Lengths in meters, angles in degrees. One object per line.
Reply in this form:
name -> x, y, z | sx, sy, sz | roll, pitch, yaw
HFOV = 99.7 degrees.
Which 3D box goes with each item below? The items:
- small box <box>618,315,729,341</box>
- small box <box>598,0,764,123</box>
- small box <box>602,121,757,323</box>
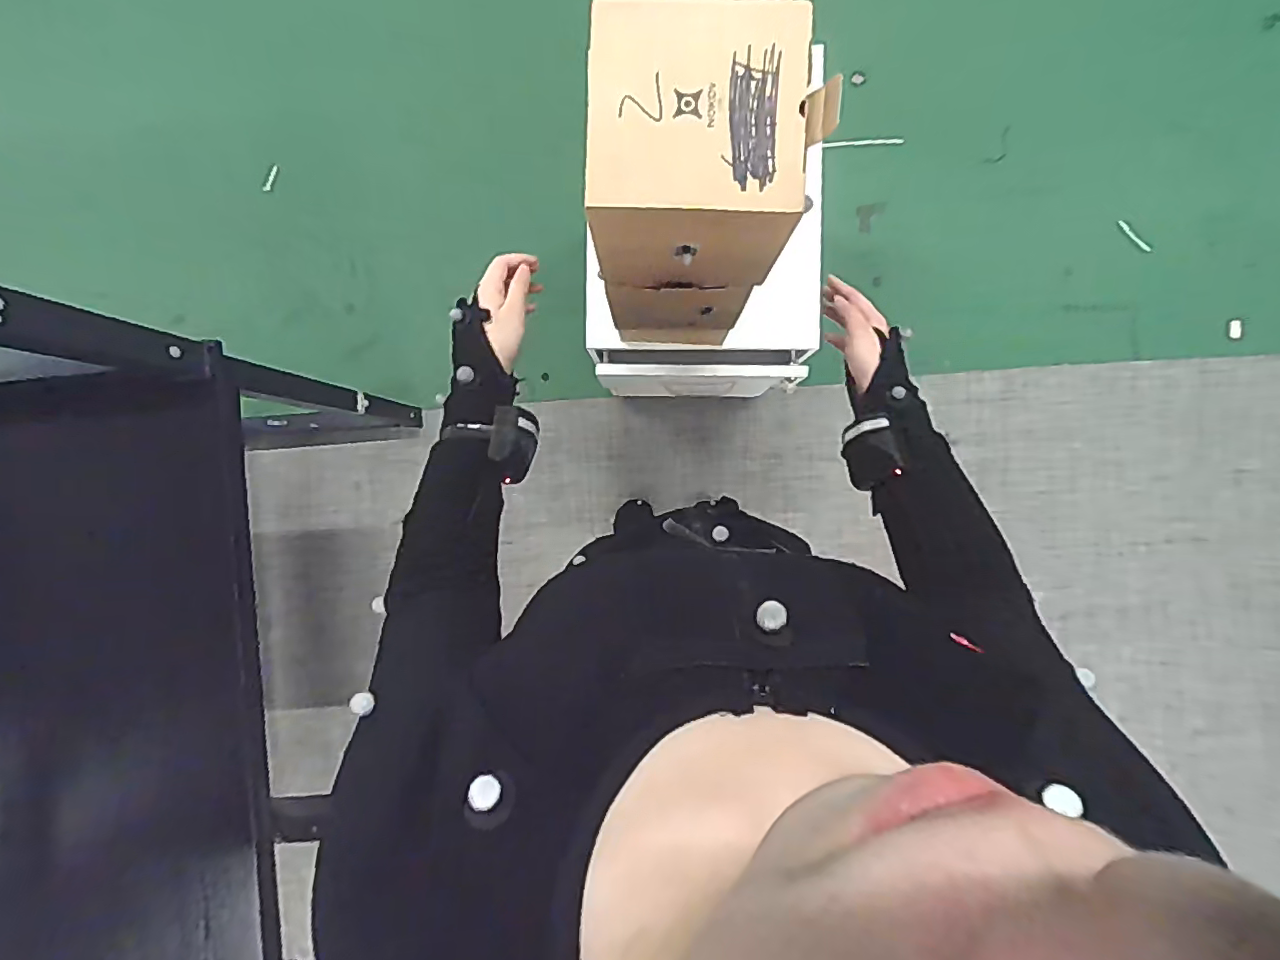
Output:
small box -> 0.055, -0.314, 0.817 | 0.179, 0.176, 0.168 | 3, 91, 1
small box -> 0.049, -0.546, 0.653 | 0.179, 0.176, 0.168 | 4, 91, 1
small box -> 0.044, -0.295, 0.656 | 0.168, 0.176, 0.179 | 0, 90, 1
